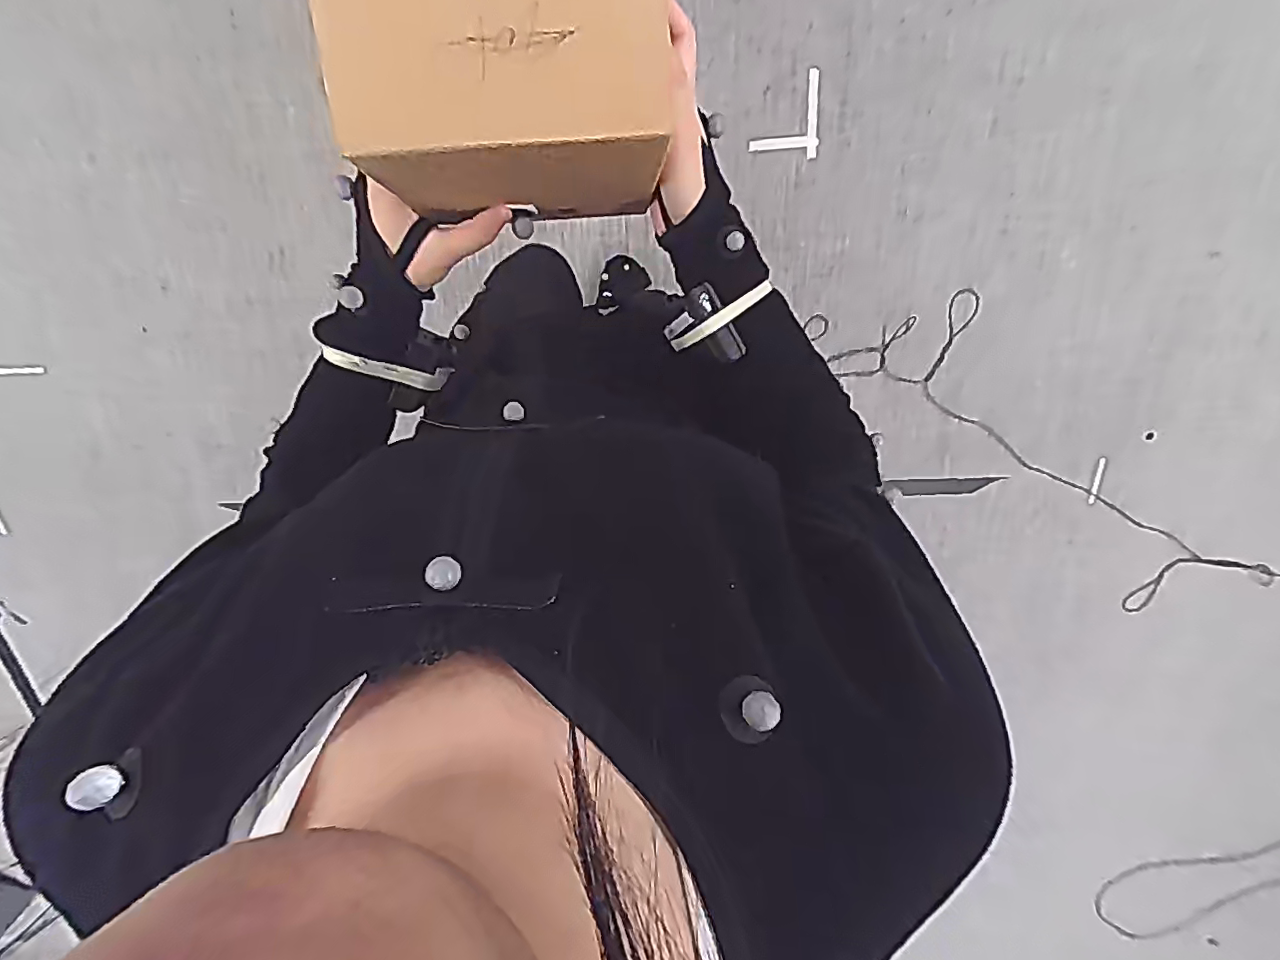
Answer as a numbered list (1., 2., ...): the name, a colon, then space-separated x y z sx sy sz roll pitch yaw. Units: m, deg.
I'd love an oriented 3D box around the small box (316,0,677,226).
1. small box: -0.074 -0.266 0.321 0.168 0.176 0.179 -5 104 -3
